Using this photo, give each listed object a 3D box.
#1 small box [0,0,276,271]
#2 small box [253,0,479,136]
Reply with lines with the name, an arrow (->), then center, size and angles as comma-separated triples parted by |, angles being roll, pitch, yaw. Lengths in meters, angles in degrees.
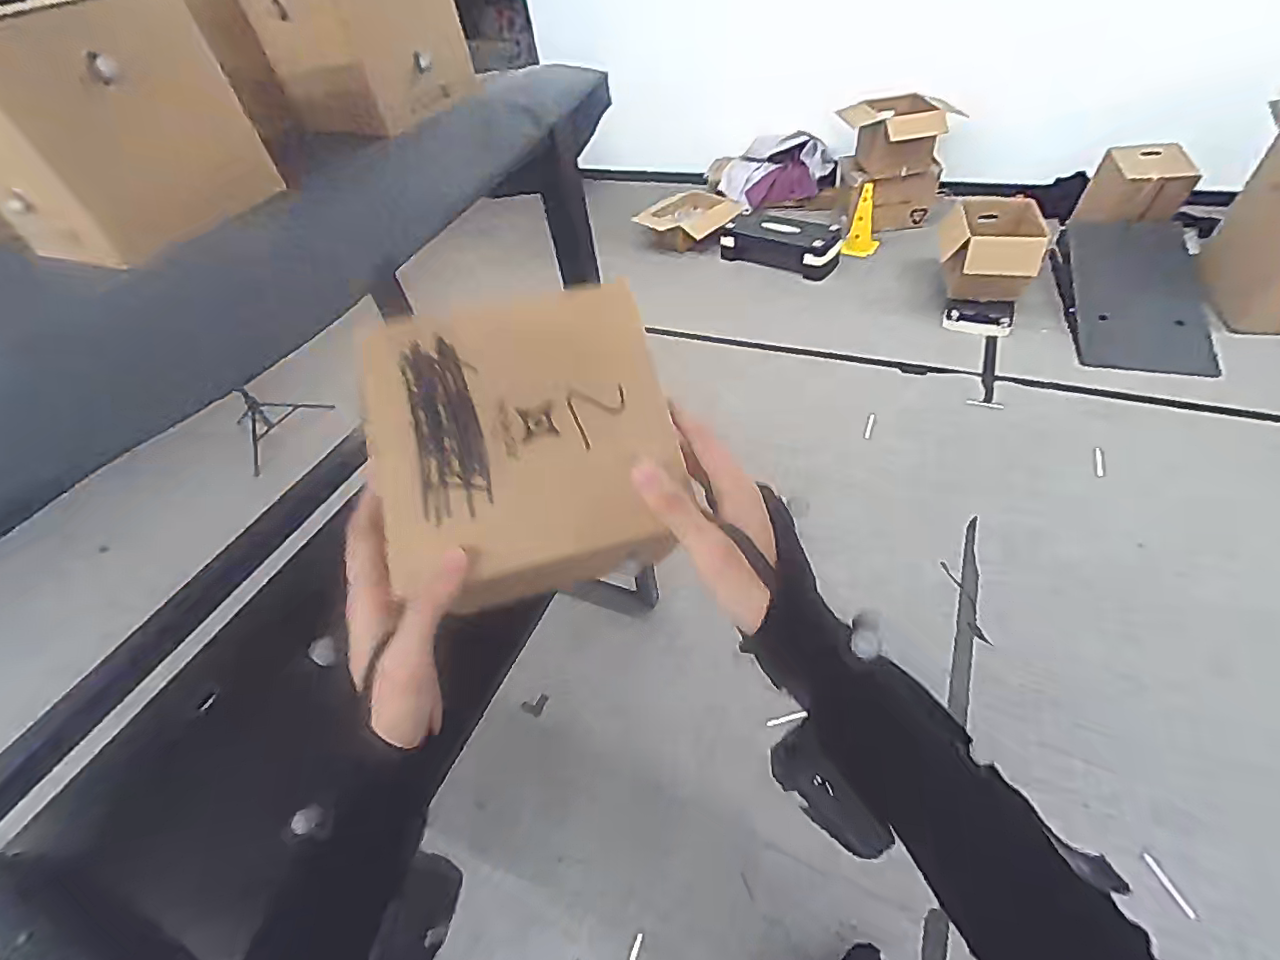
small box -> -0.480, -0.317, 0.493 | 0.168, 0.176, 0.179 | 15, 53, 21
small box -> -0.337, -0.548, 0.671 | 0.179, 0.176, 0.168 | 21, 56, 25
